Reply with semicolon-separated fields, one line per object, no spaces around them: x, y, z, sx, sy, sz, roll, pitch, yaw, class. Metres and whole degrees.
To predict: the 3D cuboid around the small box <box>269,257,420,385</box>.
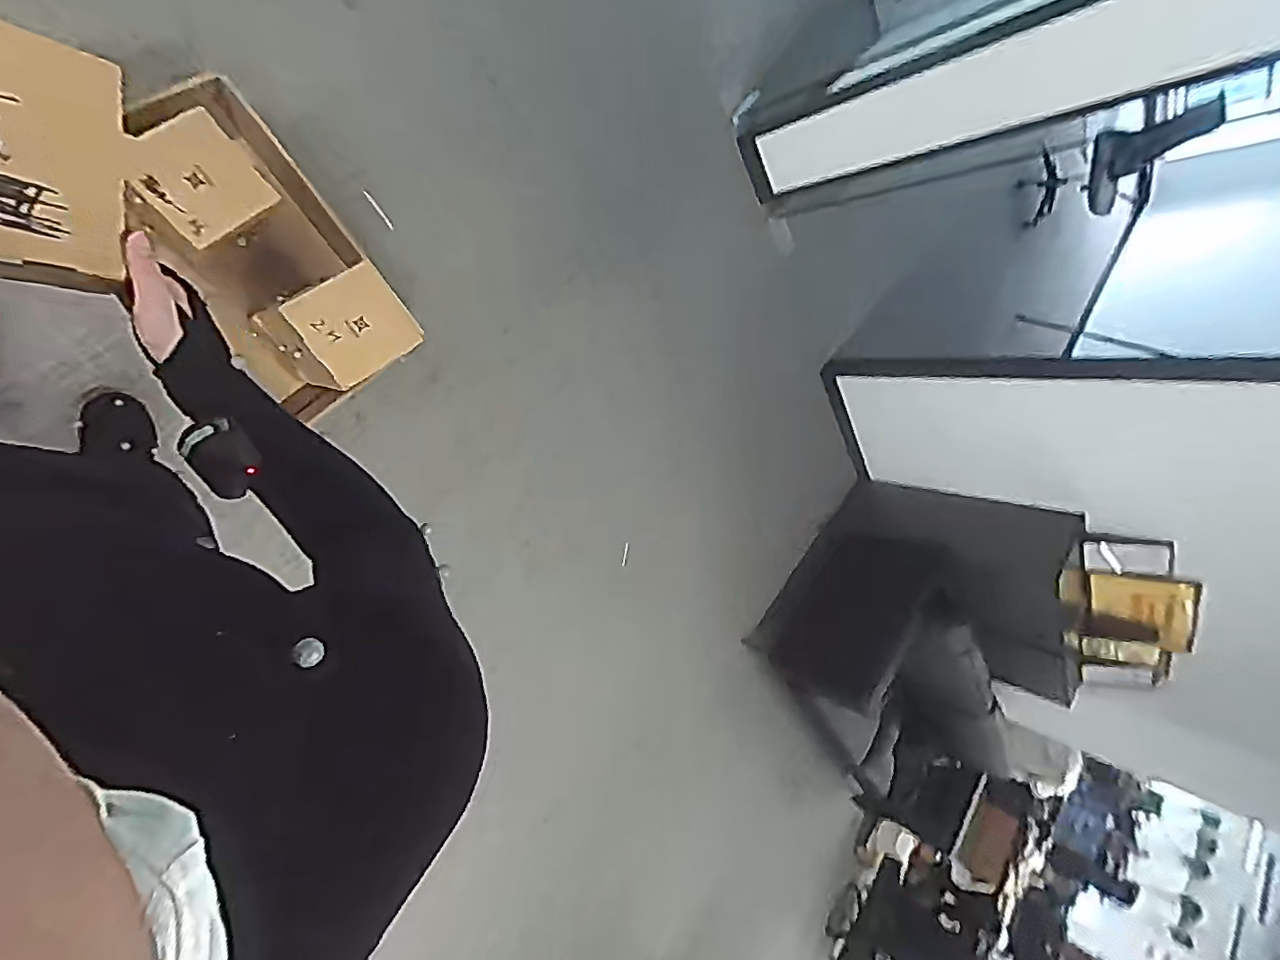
-0.560;-0.299;1.022;0.179;0.176;0.168;-43;124;-24;small box

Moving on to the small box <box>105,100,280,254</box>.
-0.802;-0.536;0.975;0.179;0.176;0.168;-50;127;-21;small box

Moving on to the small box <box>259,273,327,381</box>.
-0.665;-0.330;1.146;0.179;0.176;0.168;-43;126;-24;small box
